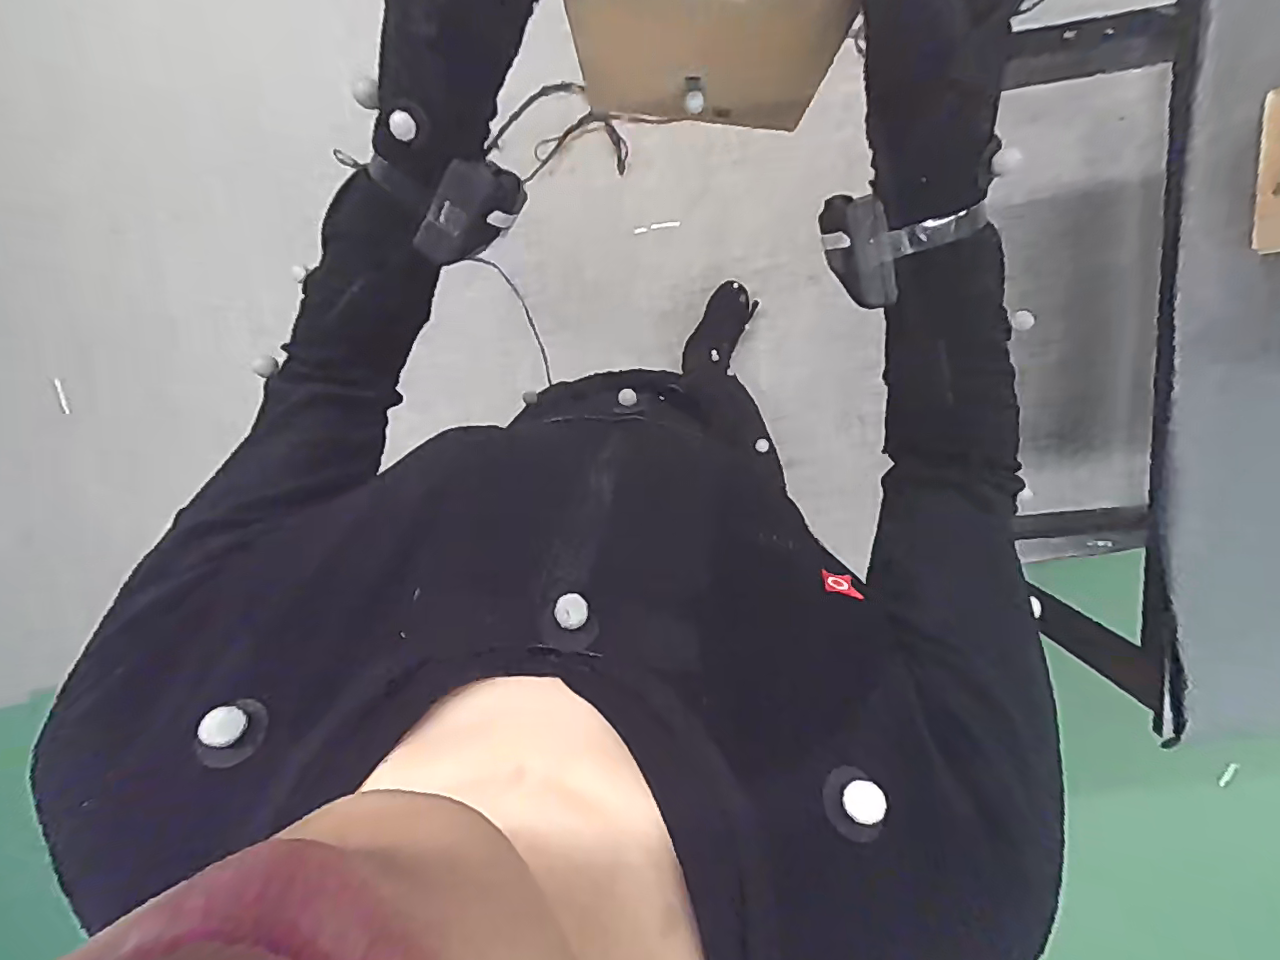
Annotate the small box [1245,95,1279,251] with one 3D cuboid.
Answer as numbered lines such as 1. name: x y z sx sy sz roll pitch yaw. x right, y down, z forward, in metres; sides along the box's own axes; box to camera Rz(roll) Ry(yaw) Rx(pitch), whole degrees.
1. small box: 0.759 -0.328 0.512 0.179 0.176 0.168 -5 100 5

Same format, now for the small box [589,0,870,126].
1. small box: 0.056 -0.362 0.337 0.168 0.176 0.179 7 100 2
